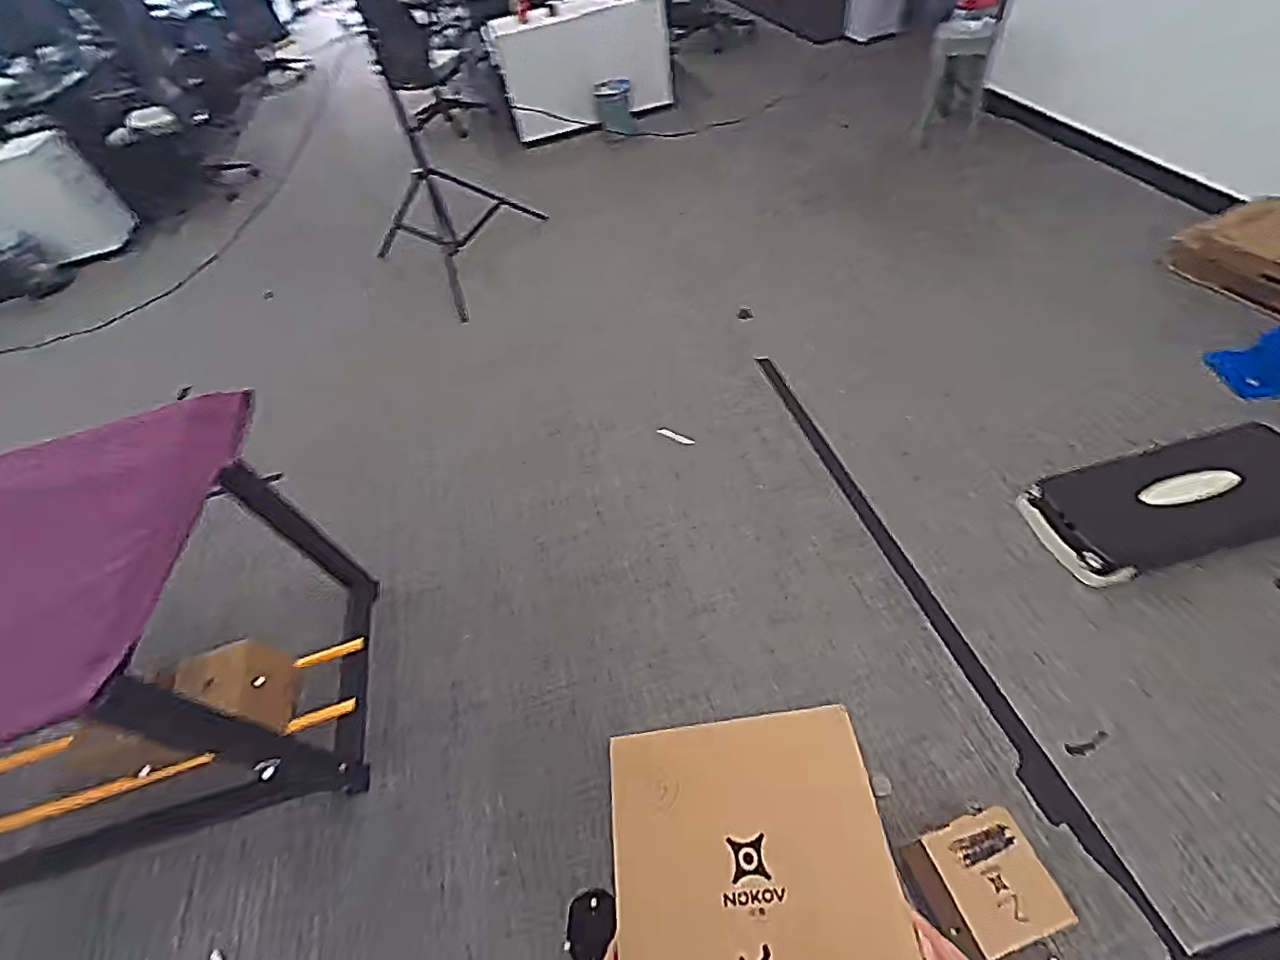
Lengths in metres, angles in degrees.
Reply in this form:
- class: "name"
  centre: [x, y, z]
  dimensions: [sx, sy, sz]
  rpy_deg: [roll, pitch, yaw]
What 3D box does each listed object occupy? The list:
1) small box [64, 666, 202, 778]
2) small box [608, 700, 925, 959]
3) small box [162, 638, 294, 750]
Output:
- class: "small box"
  centre: [-1.136, 0.559, 1.244]
  dimensions: [0.168, 0.176, 0.179]
  rpy_deg: [-18, 54, -3]
- class: "small box"
  centre: [0.081, 0.275, 0.372]
  dimensions: [0.168, 0.176, 0.179]
  rpy_deg: [-13, 51, 8]
- class: "small box"
  centre: [-0.938, 0.499, 1.252]
  dimensions: [0.168, 0.176, 0.179]
  rpy_deg: [-18, 53, -3]
